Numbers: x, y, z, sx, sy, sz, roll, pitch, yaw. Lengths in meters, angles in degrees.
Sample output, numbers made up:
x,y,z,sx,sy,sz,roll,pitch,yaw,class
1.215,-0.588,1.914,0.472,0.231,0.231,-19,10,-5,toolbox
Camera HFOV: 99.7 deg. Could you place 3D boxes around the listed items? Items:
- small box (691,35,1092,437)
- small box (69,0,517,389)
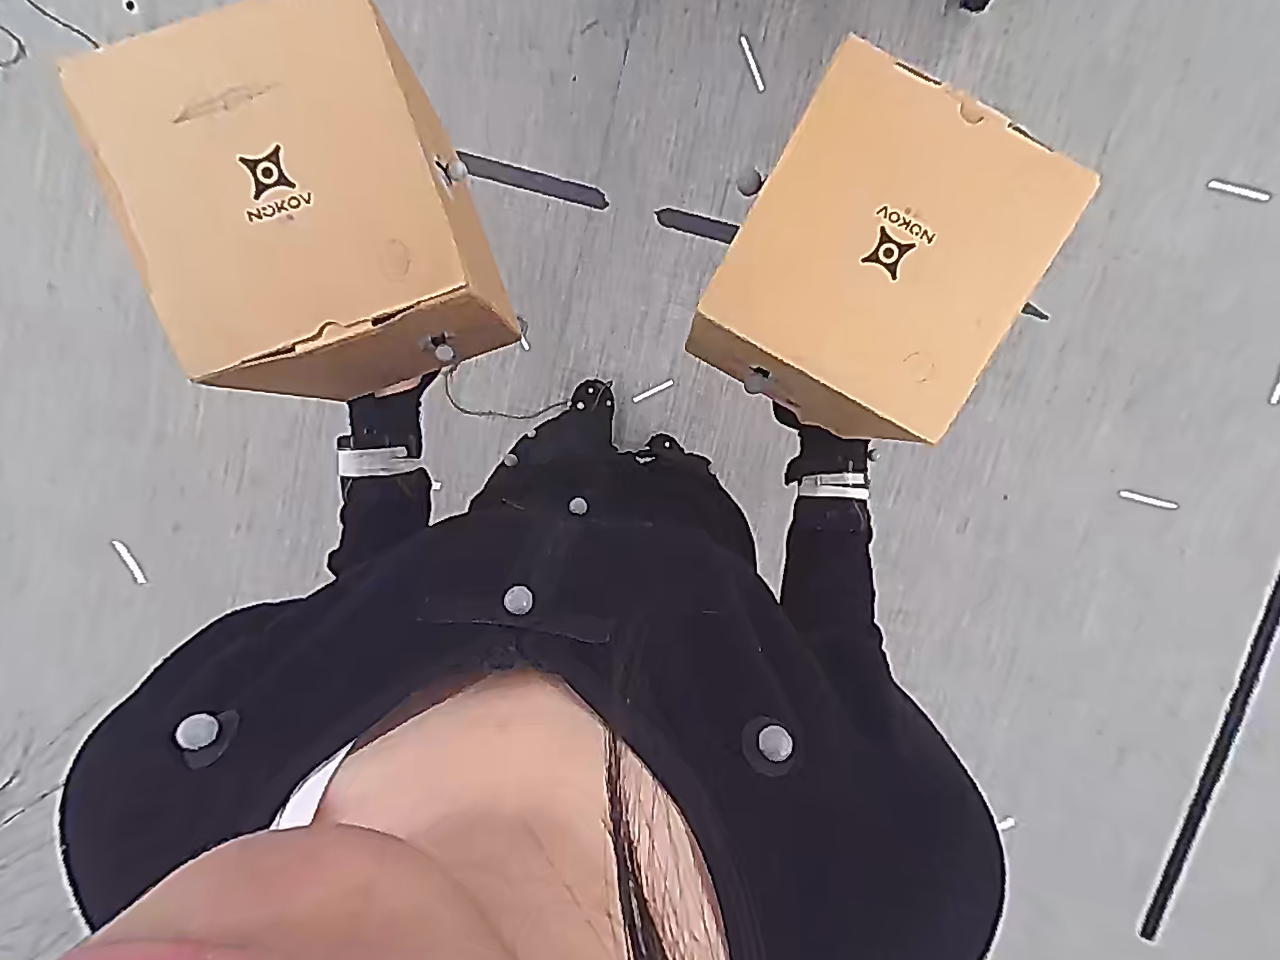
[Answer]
x,y,z,sx,sy,sz,roll,pitch,yaw,class
0.148,-0.144,0.391,0.168,0.176,0.179,29,95,0,small box
-0.198,-0.169,0.371,0.168,0.176,0.179,-20,94,-2,small box
